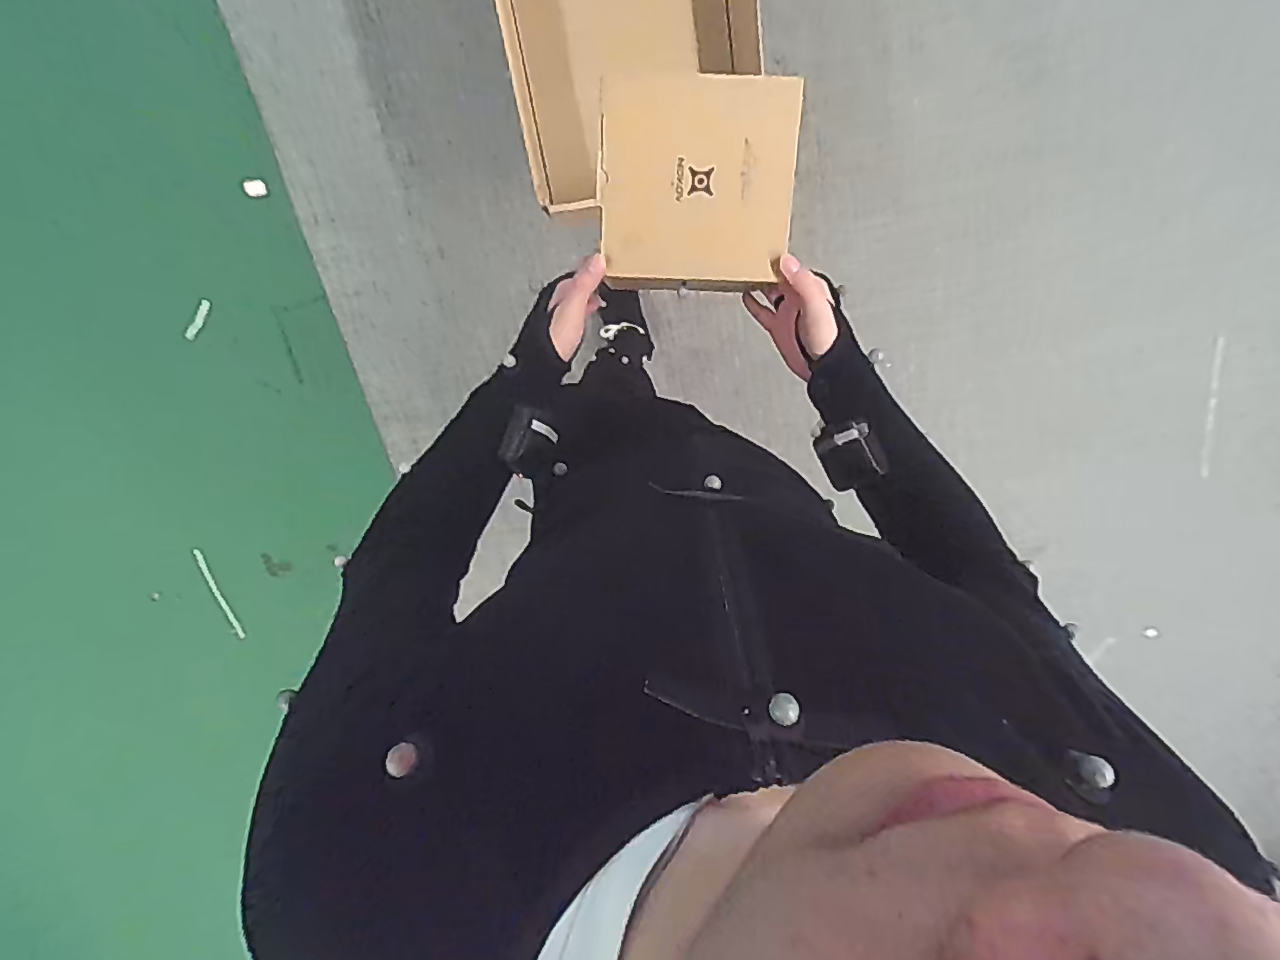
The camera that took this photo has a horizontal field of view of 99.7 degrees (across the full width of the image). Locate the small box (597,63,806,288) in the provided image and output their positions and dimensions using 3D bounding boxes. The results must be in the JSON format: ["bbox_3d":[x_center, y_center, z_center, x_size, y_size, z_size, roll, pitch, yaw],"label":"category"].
[{"bbox_3d":[0.051,-0.292,0.556,0.179,0.176,0.168,2,106,-1],"label":"small box"}]
